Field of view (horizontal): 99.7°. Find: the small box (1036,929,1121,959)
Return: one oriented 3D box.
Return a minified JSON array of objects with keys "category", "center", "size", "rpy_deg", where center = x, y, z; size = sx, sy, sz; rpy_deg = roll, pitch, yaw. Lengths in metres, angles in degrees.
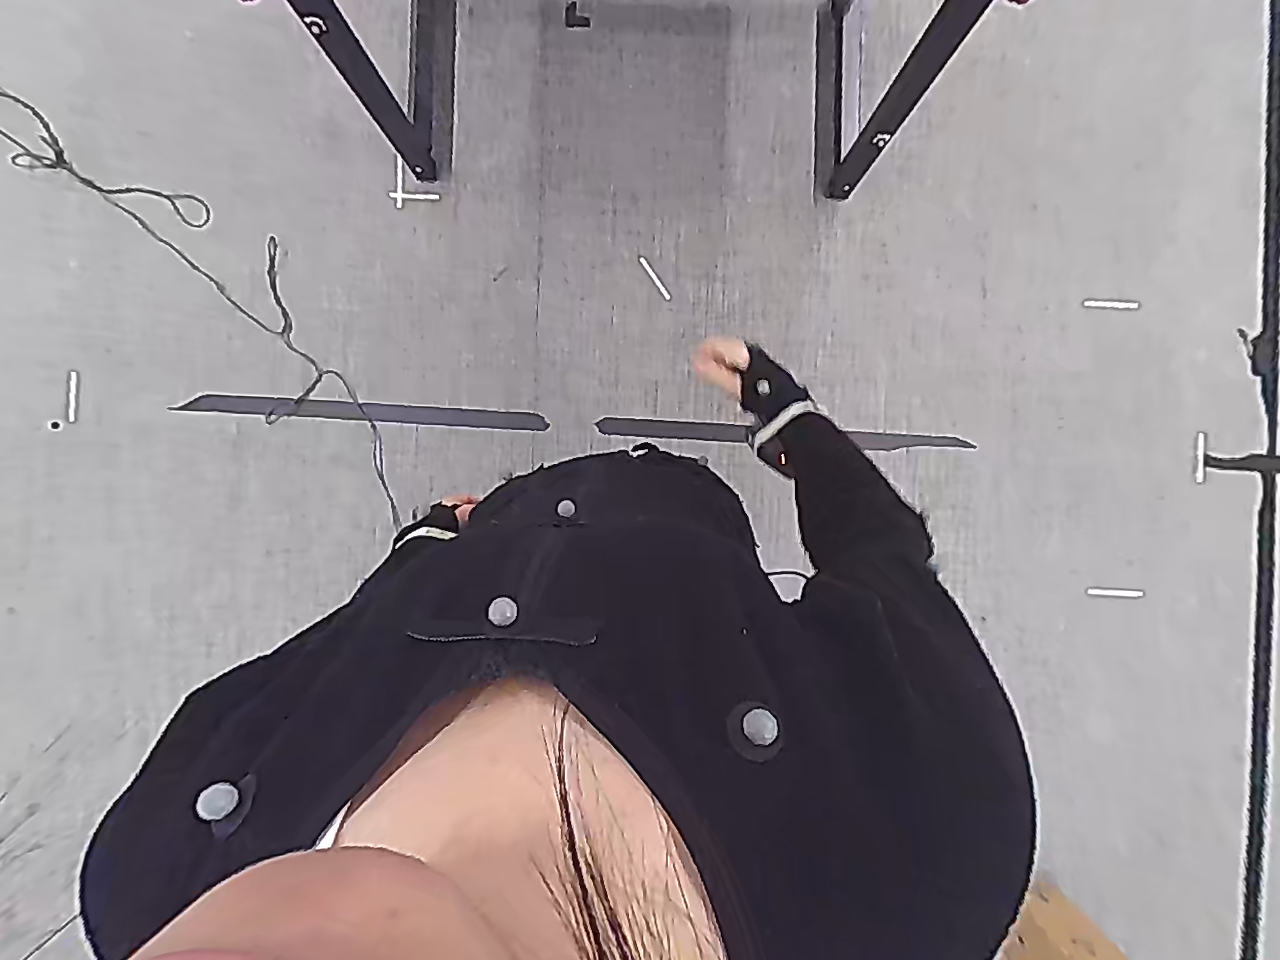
[{"category":"small box","center":[1.067,1.218,1.271],"size":[0.168,0.176,0.179],"rpy_deg":[6,90,-1]}]
